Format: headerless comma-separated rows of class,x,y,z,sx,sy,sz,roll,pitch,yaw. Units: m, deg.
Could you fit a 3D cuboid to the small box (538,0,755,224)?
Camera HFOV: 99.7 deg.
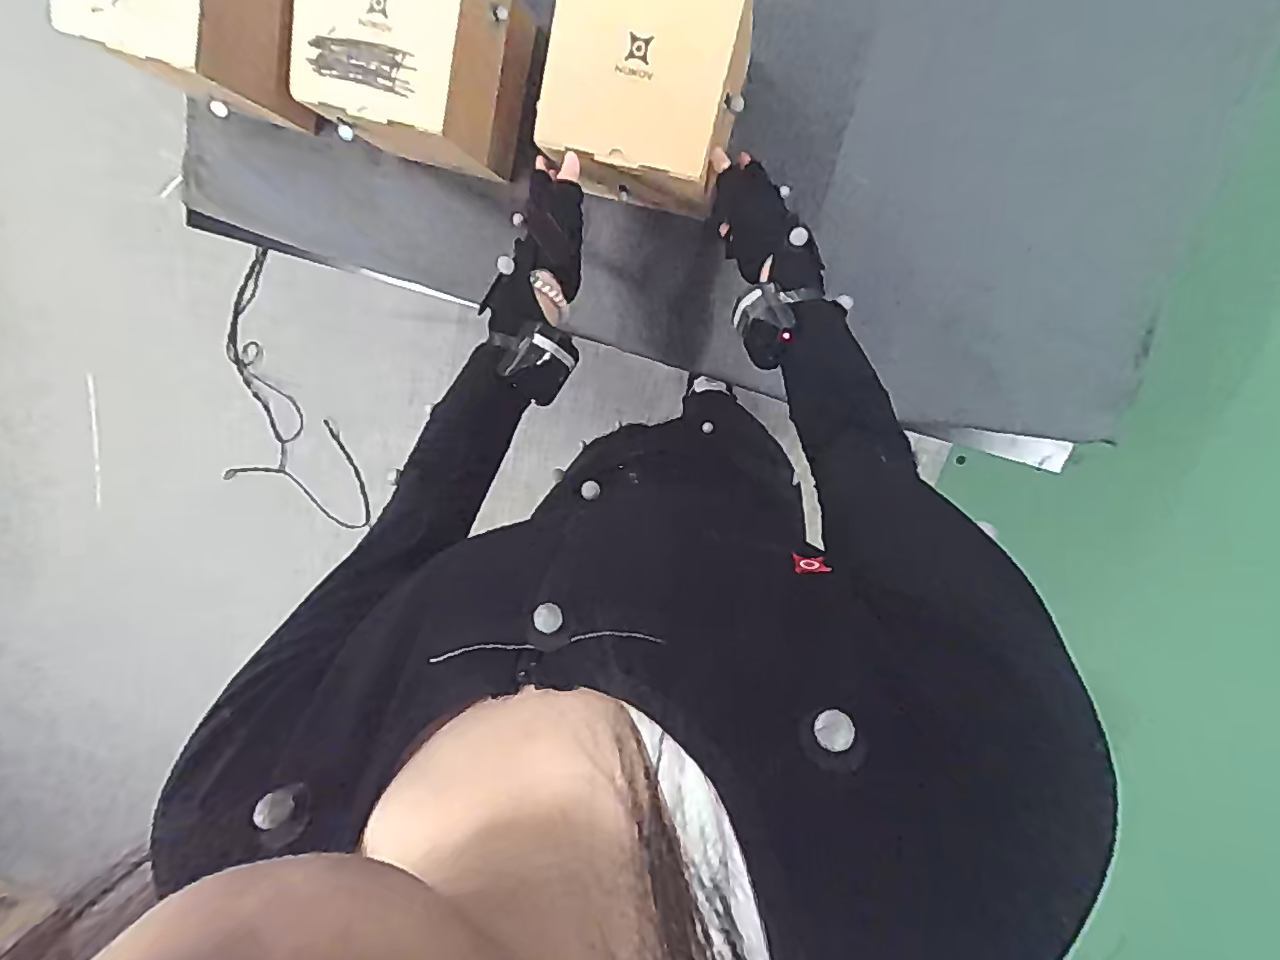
small box,0.012,-0.390,0.560,0.168,0.176,0.179,16,106,5

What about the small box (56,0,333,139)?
small box,-0.477,-0.524,0.601,0.168,0.176,0.179,19,105,4
